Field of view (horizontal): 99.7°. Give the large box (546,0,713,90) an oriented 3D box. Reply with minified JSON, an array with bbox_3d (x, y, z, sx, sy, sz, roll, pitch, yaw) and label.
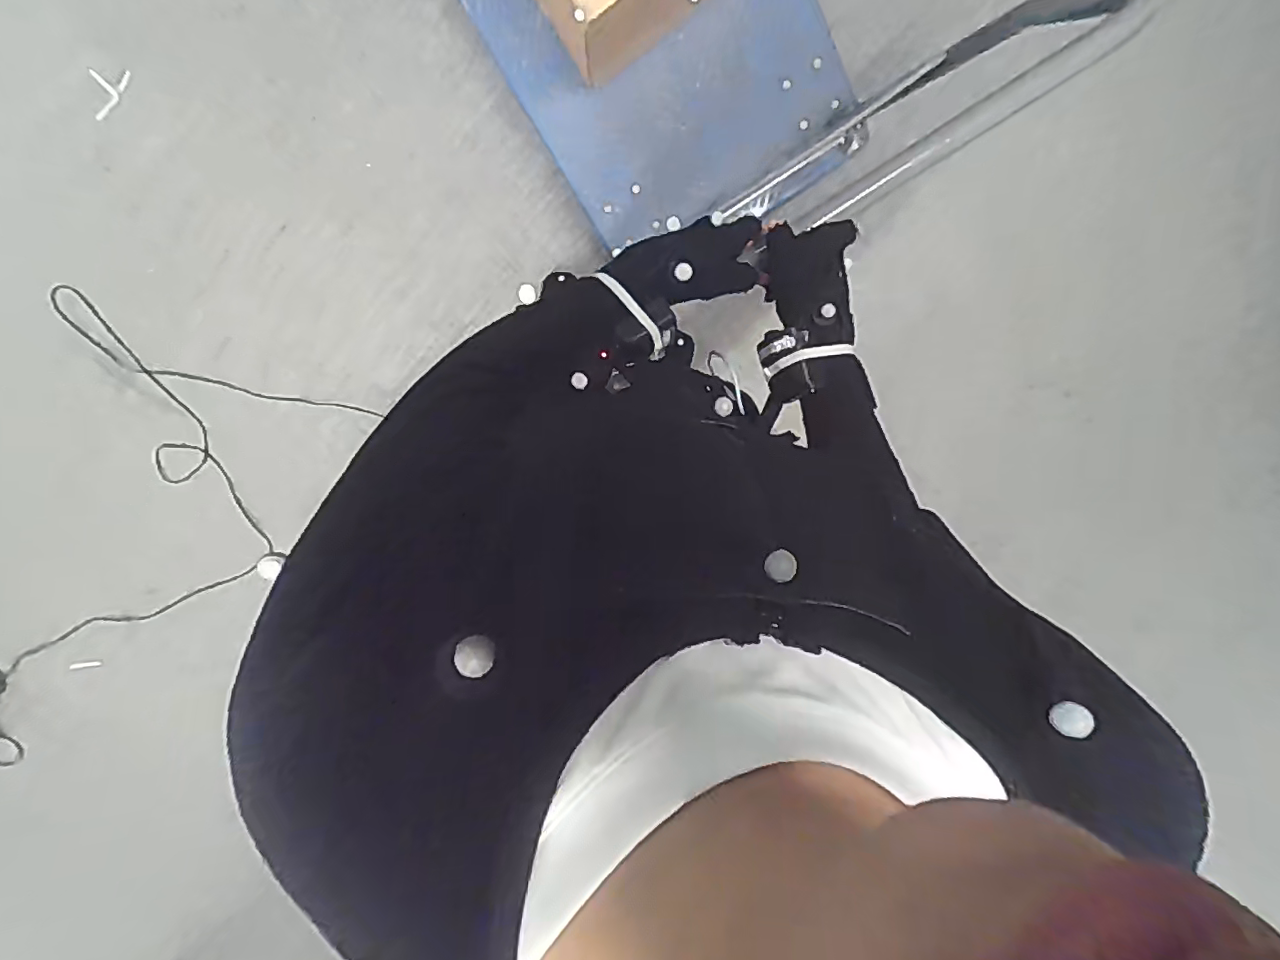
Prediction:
[{"bbox_3d":[0.006,-0.936,0.851,0.408,0.320,0.320,-33,107,9],"label":"large box"}]
